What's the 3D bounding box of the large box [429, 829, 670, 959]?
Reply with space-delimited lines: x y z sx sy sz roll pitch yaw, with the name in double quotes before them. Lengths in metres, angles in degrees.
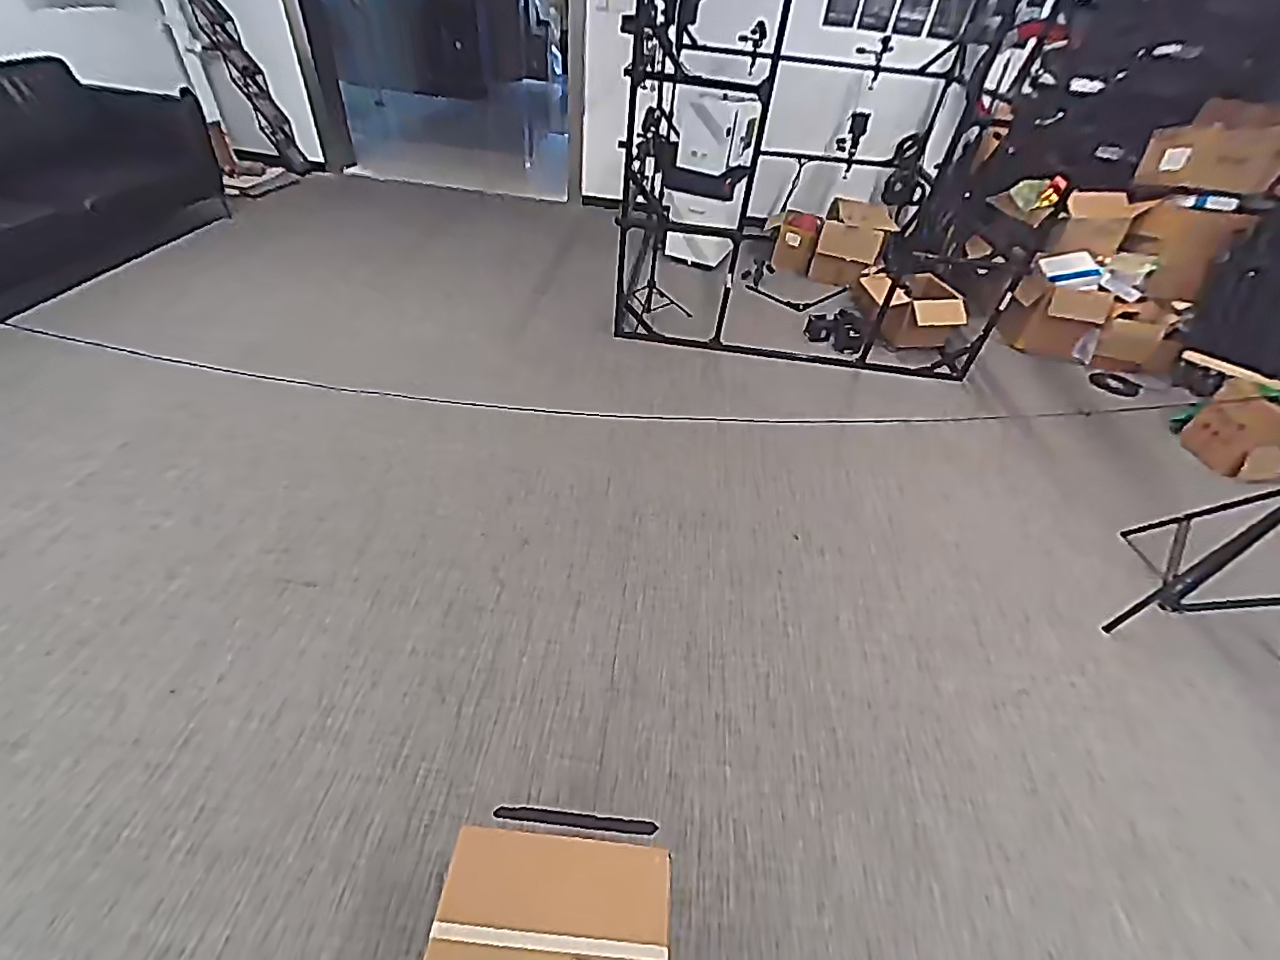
"large box" -0.167 0.900 1.020 0.408 0.320 0.320 7 42 -1
